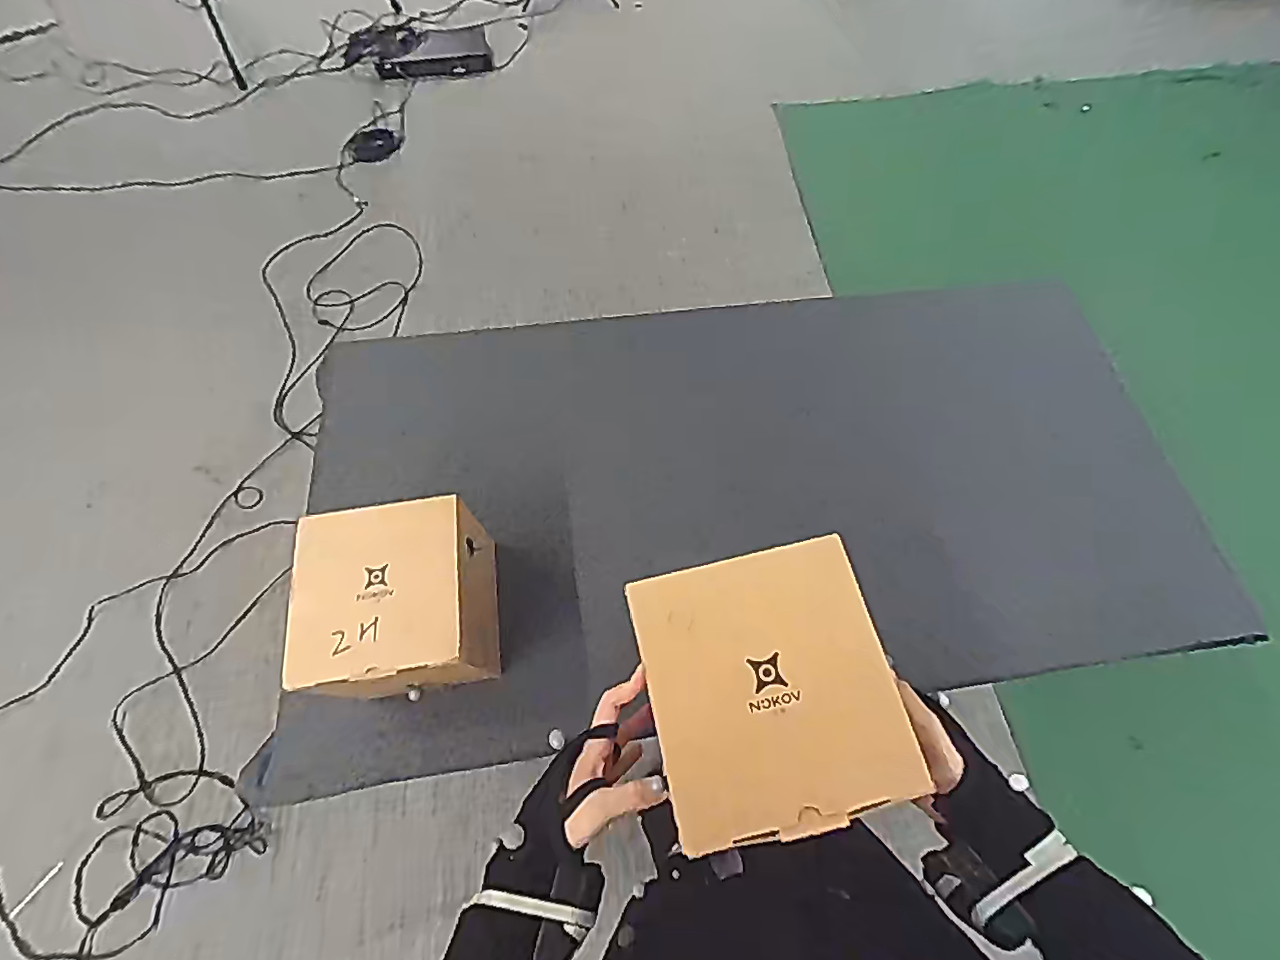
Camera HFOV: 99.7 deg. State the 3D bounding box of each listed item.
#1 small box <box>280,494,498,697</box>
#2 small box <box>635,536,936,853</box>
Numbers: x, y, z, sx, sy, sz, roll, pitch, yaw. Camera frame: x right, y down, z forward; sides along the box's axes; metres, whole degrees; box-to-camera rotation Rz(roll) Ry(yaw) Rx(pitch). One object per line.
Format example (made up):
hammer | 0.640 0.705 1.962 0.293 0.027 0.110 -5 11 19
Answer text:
small box | -0.260 0.136 0.605 0.168 0.176 0.179 -8 66 -4
small box | 0.091 0.165 0.439 0.168 0.176 0.179 -12 68 -3
